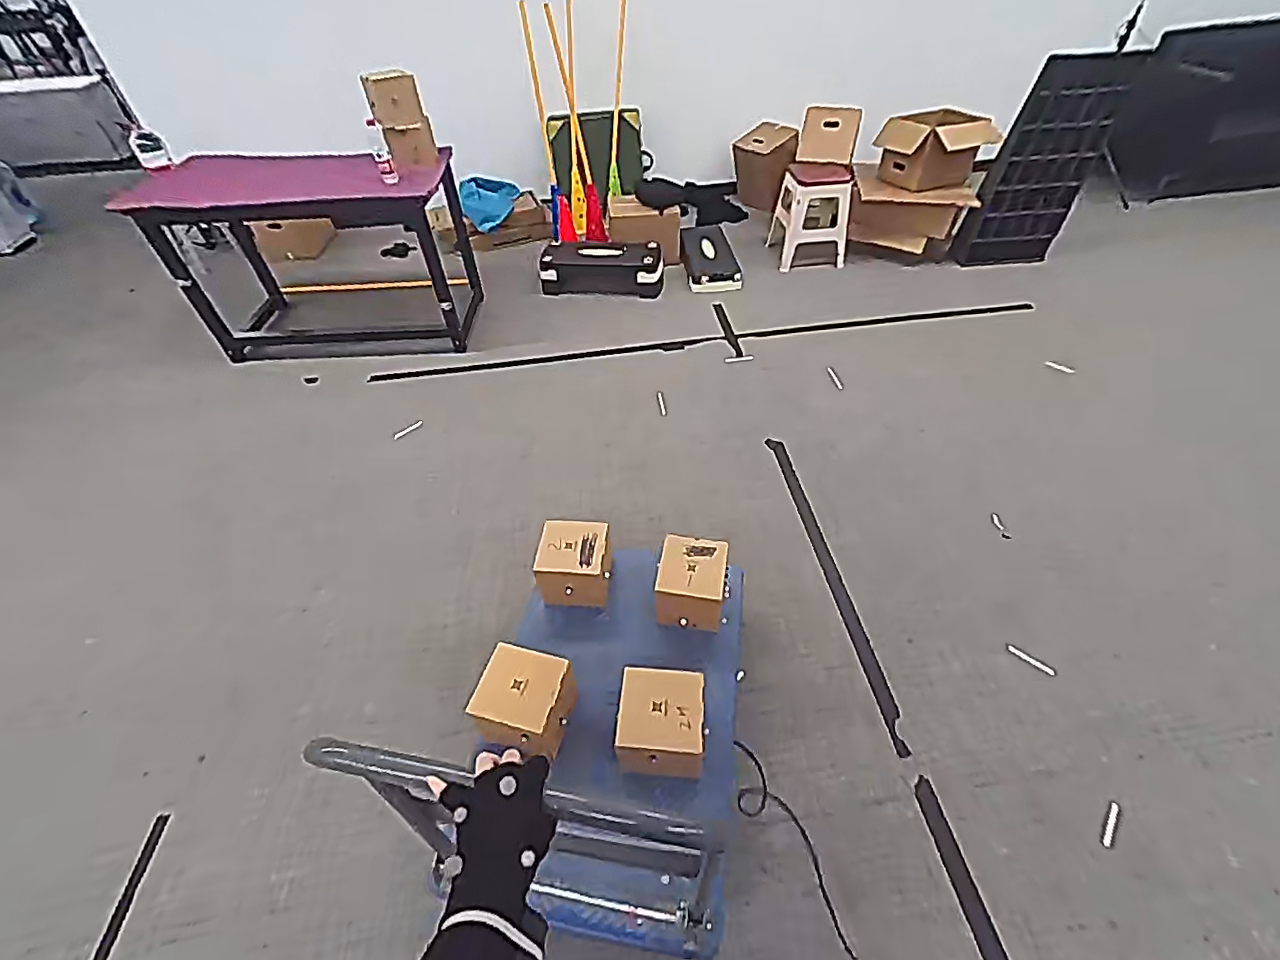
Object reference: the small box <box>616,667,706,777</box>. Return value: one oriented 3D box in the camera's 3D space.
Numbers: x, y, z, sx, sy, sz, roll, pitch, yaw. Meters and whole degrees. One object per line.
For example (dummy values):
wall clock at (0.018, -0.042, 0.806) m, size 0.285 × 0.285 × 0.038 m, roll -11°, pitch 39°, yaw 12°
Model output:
small box at (0.052, 0.527, 1.173) m, size 0.179 × 0.176 × 0.168 m, roll 3°, pitch 47°, yaw 6°

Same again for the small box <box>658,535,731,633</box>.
small box at (0.142, 0.271, 1.412) m, size 0.168 × 0.176 × 0.179 m, roll 7°, pitch 48°, yaw 10°

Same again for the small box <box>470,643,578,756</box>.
small box at (-0.251, 0.498, 1.219) m, size 0.179 × 0.176 × 0.168 m, roll 11°, pitch 47°, yaw 11°
